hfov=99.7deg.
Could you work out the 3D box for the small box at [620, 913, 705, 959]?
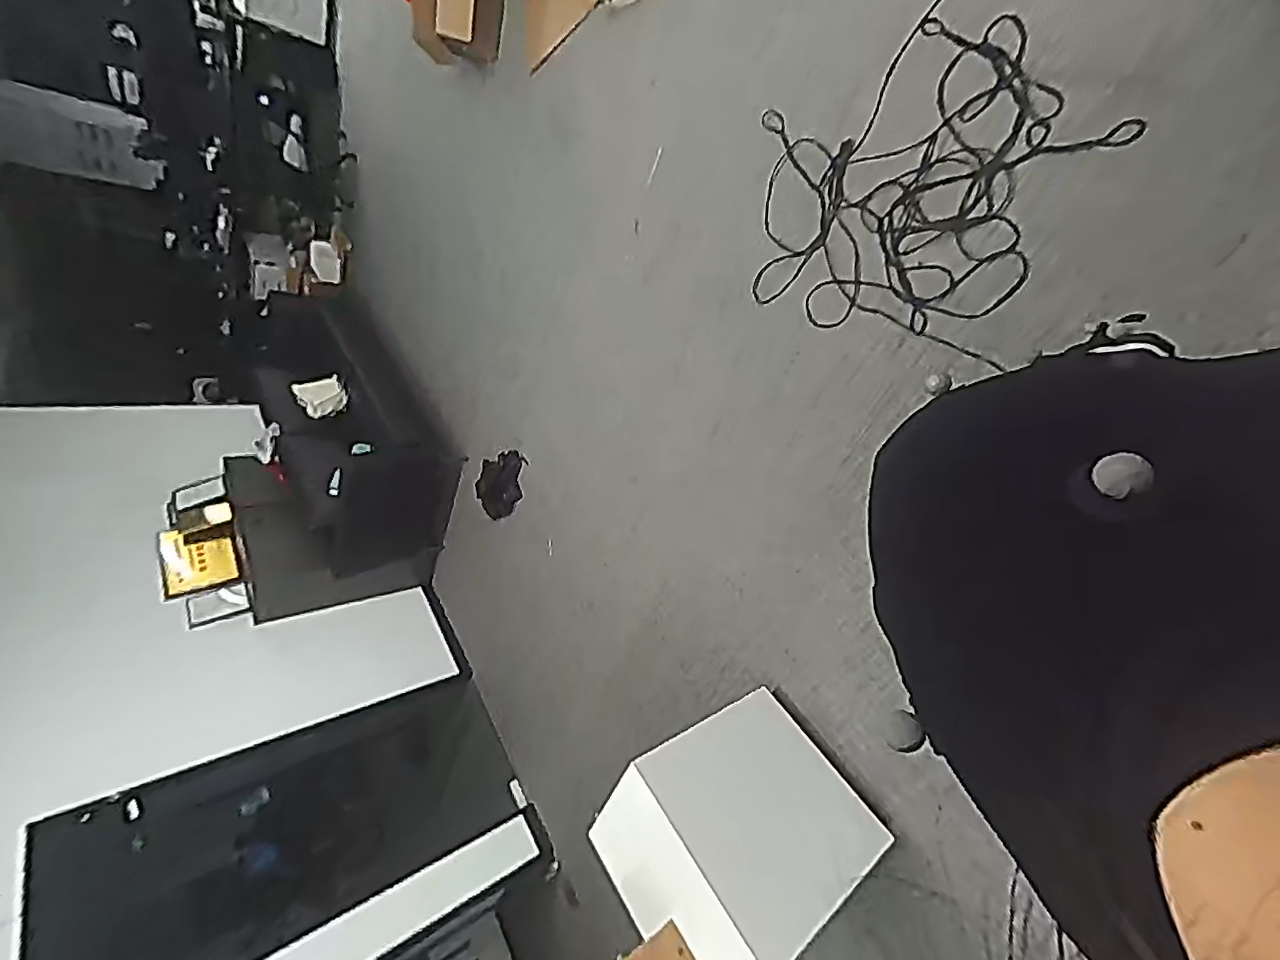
[{"bbox_3d":[0.048,1.172,1.261,0.168,0.176,0.179,47,127,36],"label":"small box"}]
